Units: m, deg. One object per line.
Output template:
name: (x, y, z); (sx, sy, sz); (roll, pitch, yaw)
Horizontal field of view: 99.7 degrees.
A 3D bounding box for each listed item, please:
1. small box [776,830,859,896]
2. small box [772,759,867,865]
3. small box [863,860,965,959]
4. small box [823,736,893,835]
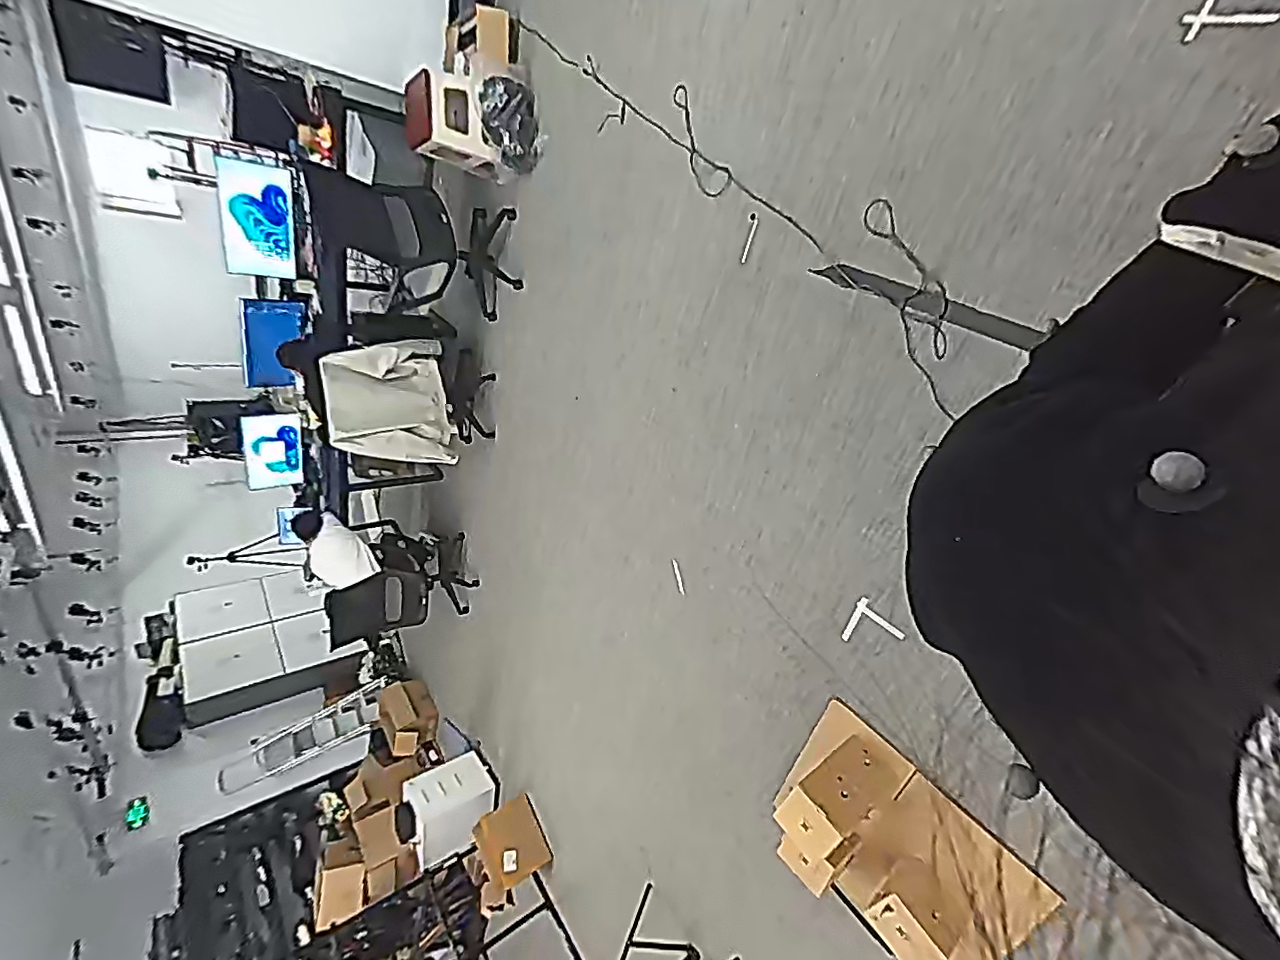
small box: (0.592, 1.217, 1.805); (0.179, 0.176, 0.168); (35, 124, 41)
small box: (0.526, 0.961, 1.575); (0.168, 0.176, 0.179); (43, 127, 36)
small box: (0.795, 1.260, 1.566); (0.179, 0.176, 0.168); (47, 130, 32)
small box: (0.650, 0.942, 1.678); (0.168, 0.176, 0.179); (39, 124, 38)
